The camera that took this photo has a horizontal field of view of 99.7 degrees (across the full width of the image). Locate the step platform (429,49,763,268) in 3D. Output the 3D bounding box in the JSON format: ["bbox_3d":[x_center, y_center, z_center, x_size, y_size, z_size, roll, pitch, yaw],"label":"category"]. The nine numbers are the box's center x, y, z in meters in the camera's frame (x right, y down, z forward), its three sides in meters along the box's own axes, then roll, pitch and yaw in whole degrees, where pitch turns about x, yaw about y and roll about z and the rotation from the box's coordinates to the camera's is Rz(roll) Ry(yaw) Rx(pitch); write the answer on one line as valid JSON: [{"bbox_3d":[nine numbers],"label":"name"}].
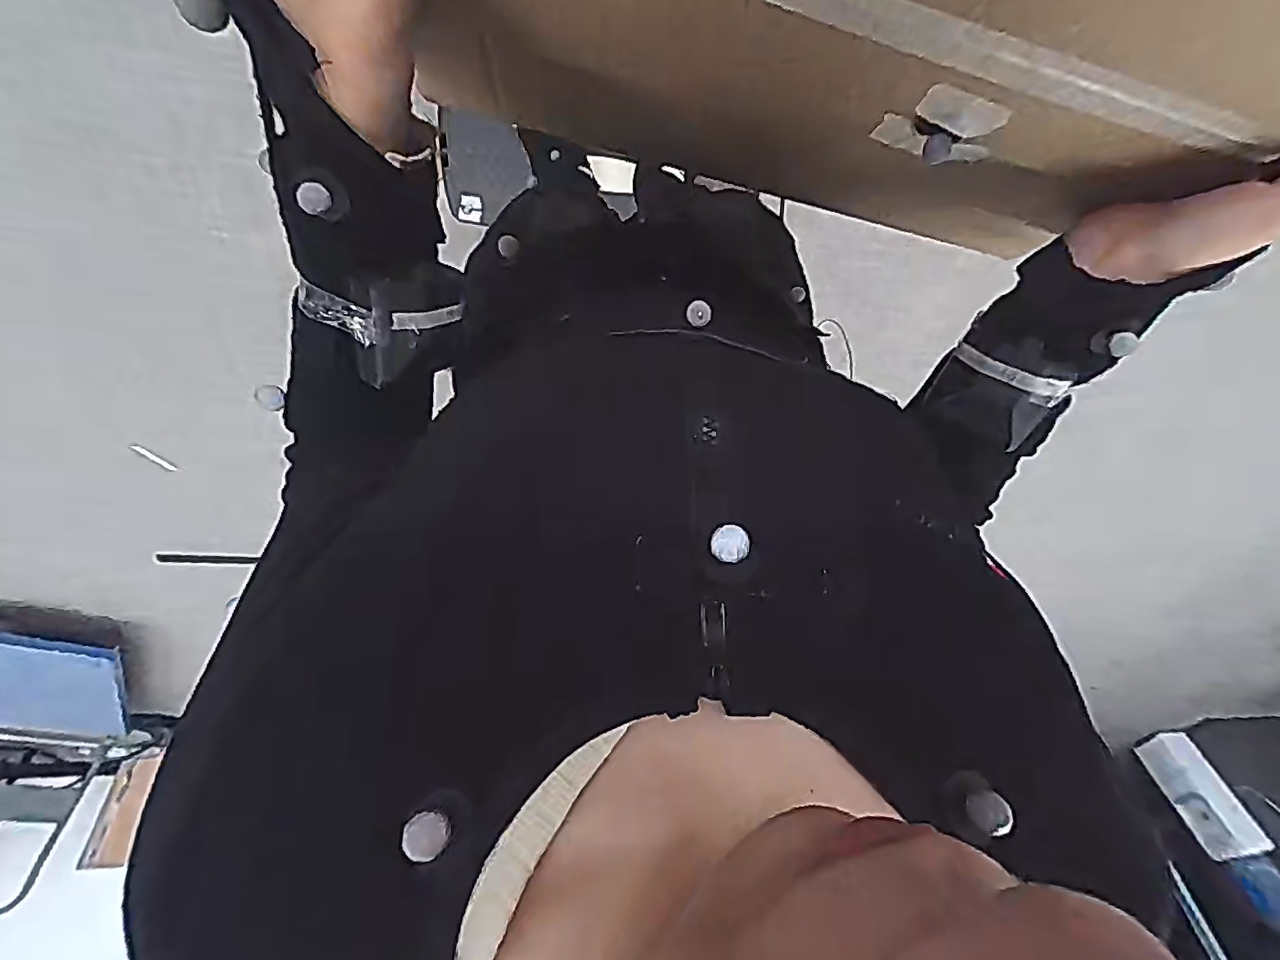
[{"bbox_3d":[-0.089,-0.683,1.165,0.684,0.204,0.286,8,131,-12],"label":"step platform"}]
